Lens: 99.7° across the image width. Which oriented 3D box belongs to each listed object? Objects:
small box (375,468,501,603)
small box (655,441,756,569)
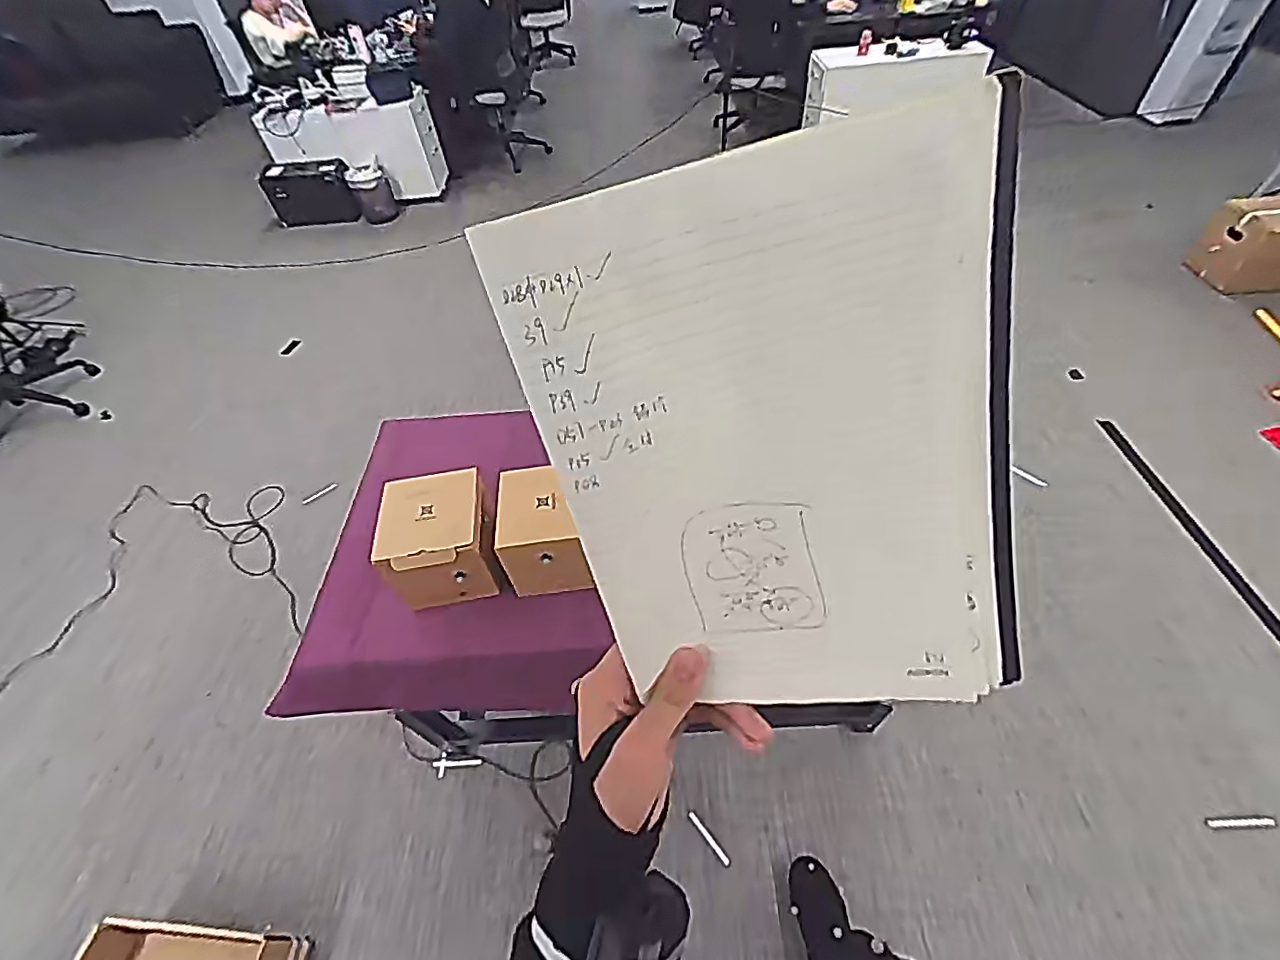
[{"bbox_3d":[-0.354,0.108,0.984,0.168,0.176,0.179,-9,50,-4],"label":"small box"},{"bbox_3d":[0.116,0.050,0.986,0.168,0.176,0.179,-2,49,4],"label":"small box"}]
